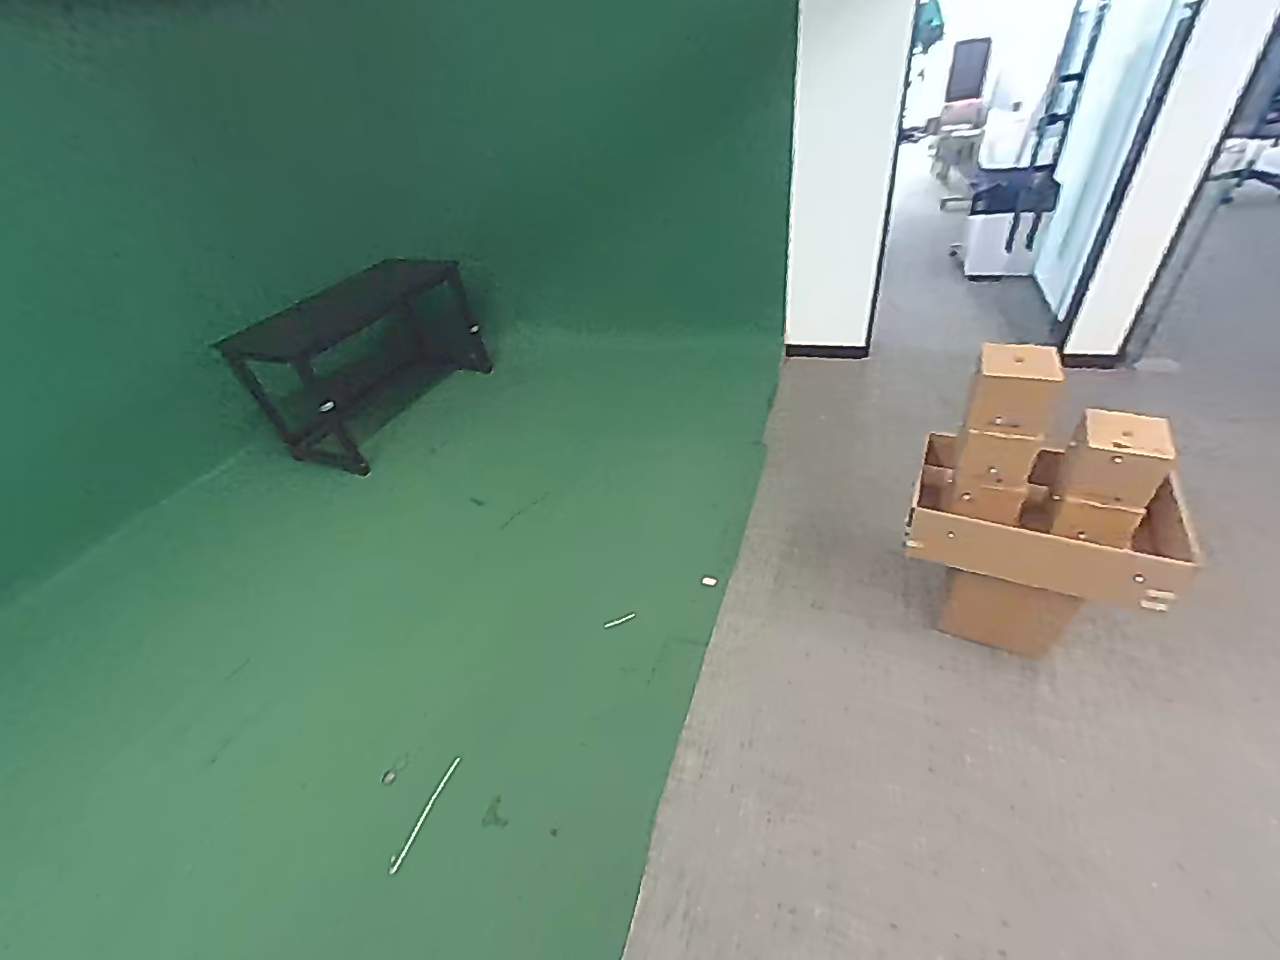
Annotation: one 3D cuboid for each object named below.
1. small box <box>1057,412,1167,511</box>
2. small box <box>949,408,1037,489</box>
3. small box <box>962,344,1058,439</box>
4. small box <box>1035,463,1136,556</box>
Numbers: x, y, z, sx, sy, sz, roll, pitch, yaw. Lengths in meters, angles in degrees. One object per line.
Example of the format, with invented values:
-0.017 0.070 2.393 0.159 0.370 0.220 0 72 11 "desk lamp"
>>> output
1.207 -0.049 1.399 0.168 0.176 0.179 14 46 25 "small box"
0.968 -0.101 1.497 0.168 0.176 0.179 11 44 22 "small box"
0.949 -0.231 1.401 0.168 0.176 0.179 12 44 23 "small box"
1.223 0.080 1.500 0.168 0.176 0.179 13 46 24 "small box"
